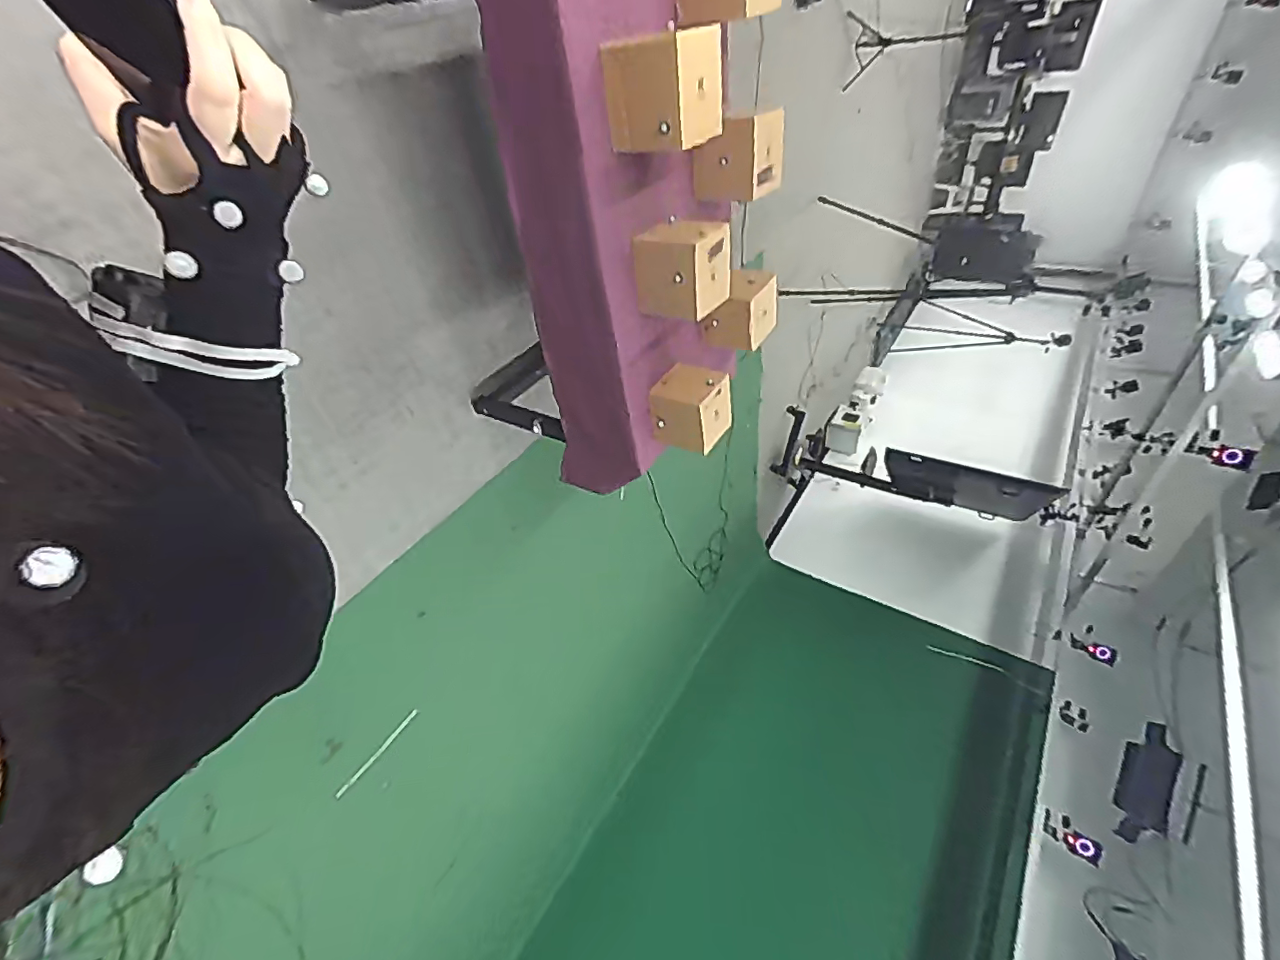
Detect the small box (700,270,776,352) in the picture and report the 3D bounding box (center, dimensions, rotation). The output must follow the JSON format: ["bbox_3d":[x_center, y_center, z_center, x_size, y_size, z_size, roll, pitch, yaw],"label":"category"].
[{"bbox_3d":[0.291,-0.508,1.608,0.179,0.176,0.168,-49,144,-32],"label":"small box"}]

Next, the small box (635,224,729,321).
[{"bbox_3d":[0.101,-0.504,1.296,0.168,0.176,0.179,-45,143,-37],"label":"small box"}]

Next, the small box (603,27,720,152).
[{"bbox_3d":[0.044,-0.756,1.055,0.168,0.176,0.179,-47,144,-36],"label":"small box"}]

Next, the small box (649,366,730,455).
[{"bbox_3d":[0.144,-0.203,1.541,0.168,0.176,0.179,-49,144,-34],"label":"small box"}]
